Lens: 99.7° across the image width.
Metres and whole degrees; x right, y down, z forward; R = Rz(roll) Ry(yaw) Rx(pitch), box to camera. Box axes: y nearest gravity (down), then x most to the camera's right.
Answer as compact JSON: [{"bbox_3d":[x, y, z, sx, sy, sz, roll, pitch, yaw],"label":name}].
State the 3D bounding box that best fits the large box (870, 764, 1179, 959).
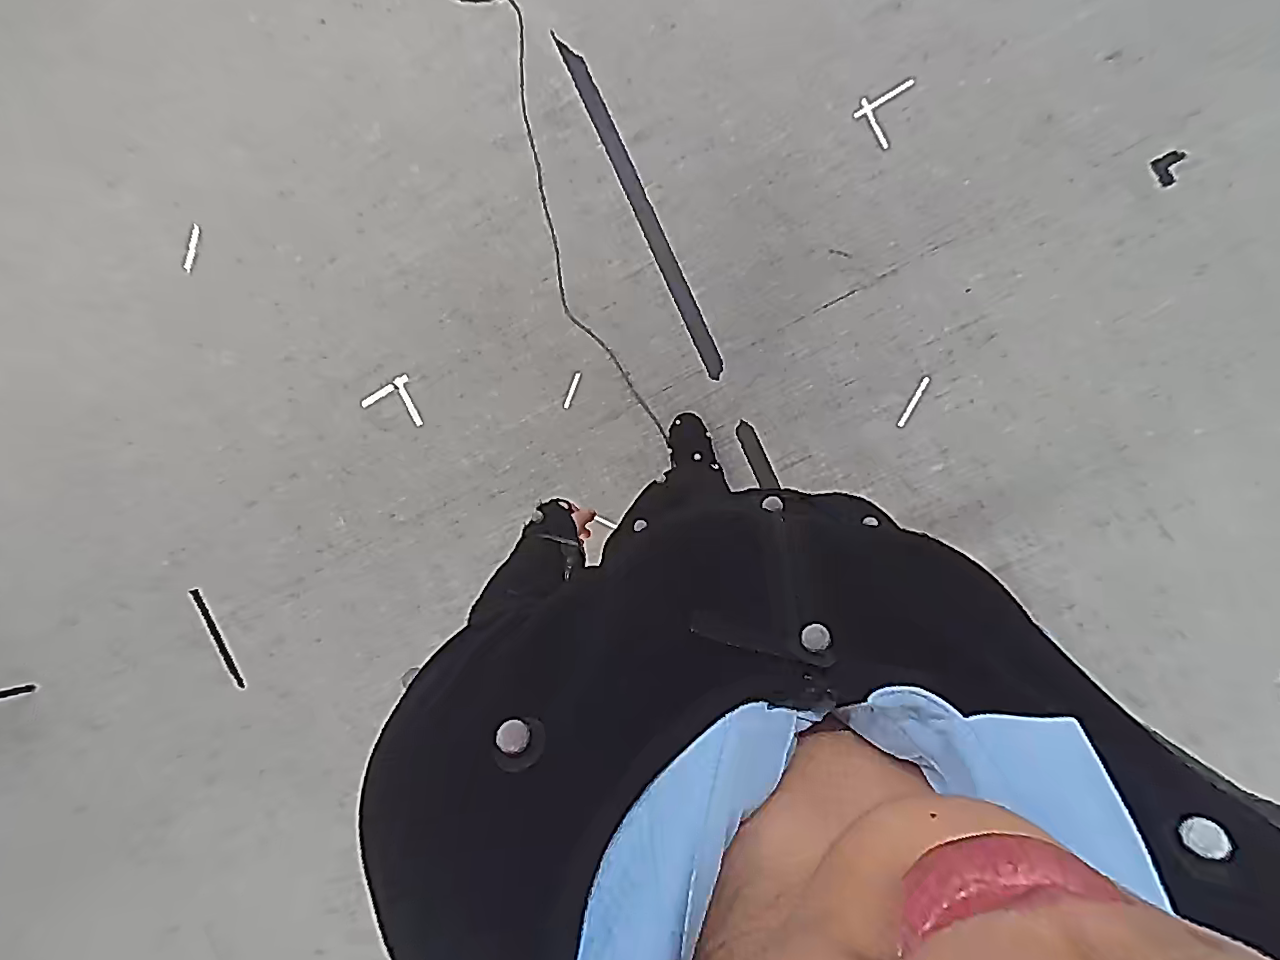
[{"bbox_3d":[0.748,0.842,1.102,0.408,0.320,0.320,-17,92,10],"label":"large box"}]
